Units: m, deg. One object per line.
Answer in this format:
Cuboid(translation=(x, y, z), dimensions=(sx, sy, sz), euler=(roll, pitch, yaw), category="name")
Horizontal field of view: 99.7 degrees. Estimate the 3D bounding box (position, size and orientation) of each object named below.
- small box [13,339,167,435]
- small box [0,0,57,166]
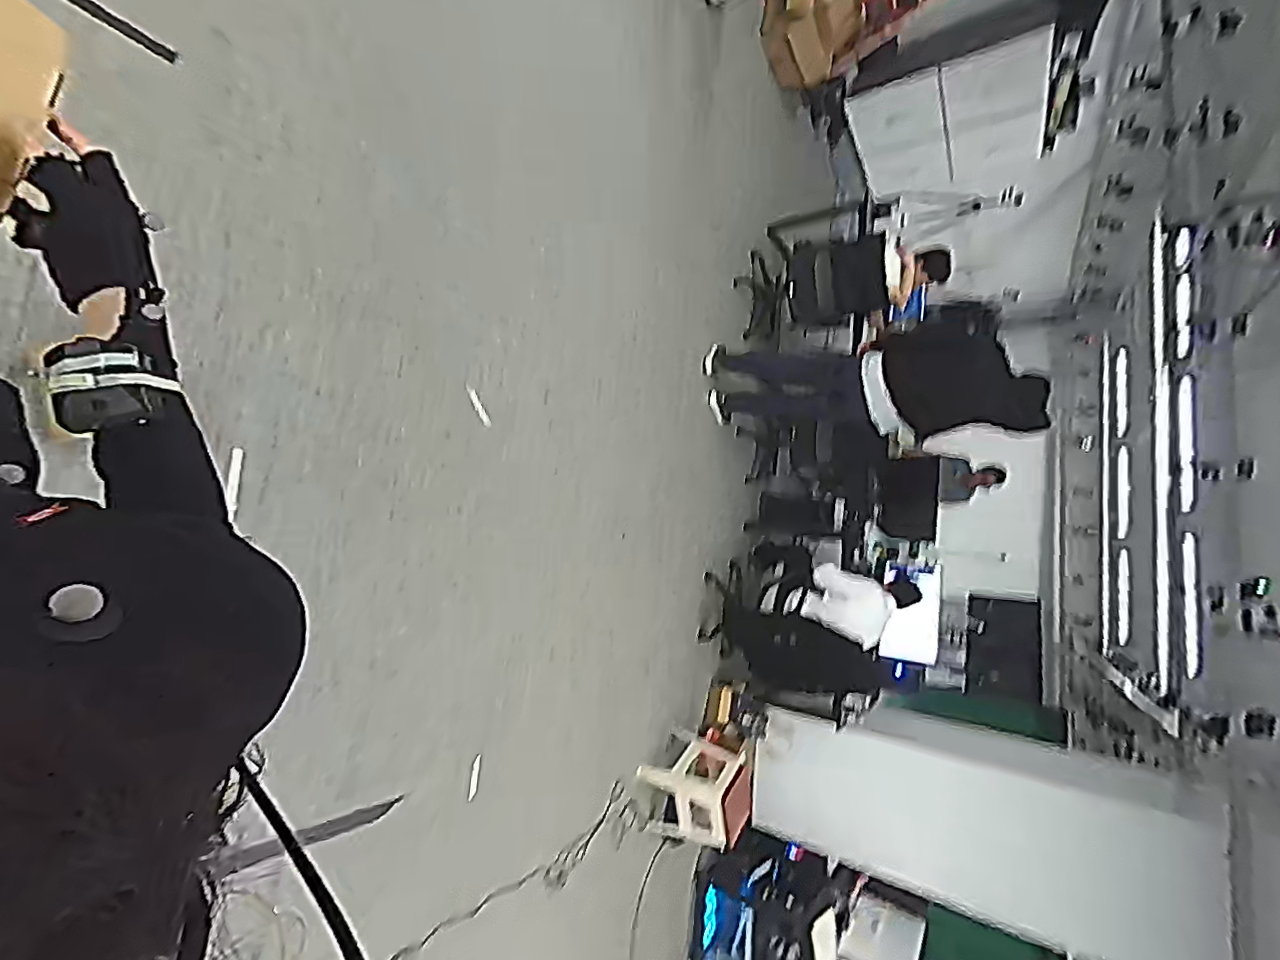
Cuboid(translation=(-1.079, -0.178, 1.060), dimensions=(0.179, 0.176, 0.168), euler=(-16, 104, -56), category="small box")
Cuboid(translation=(-0.575, -0.314, 0.358), dimensions=(0.179, 0.176, 0.168), euler=(31, 76, -73), category="small box")
